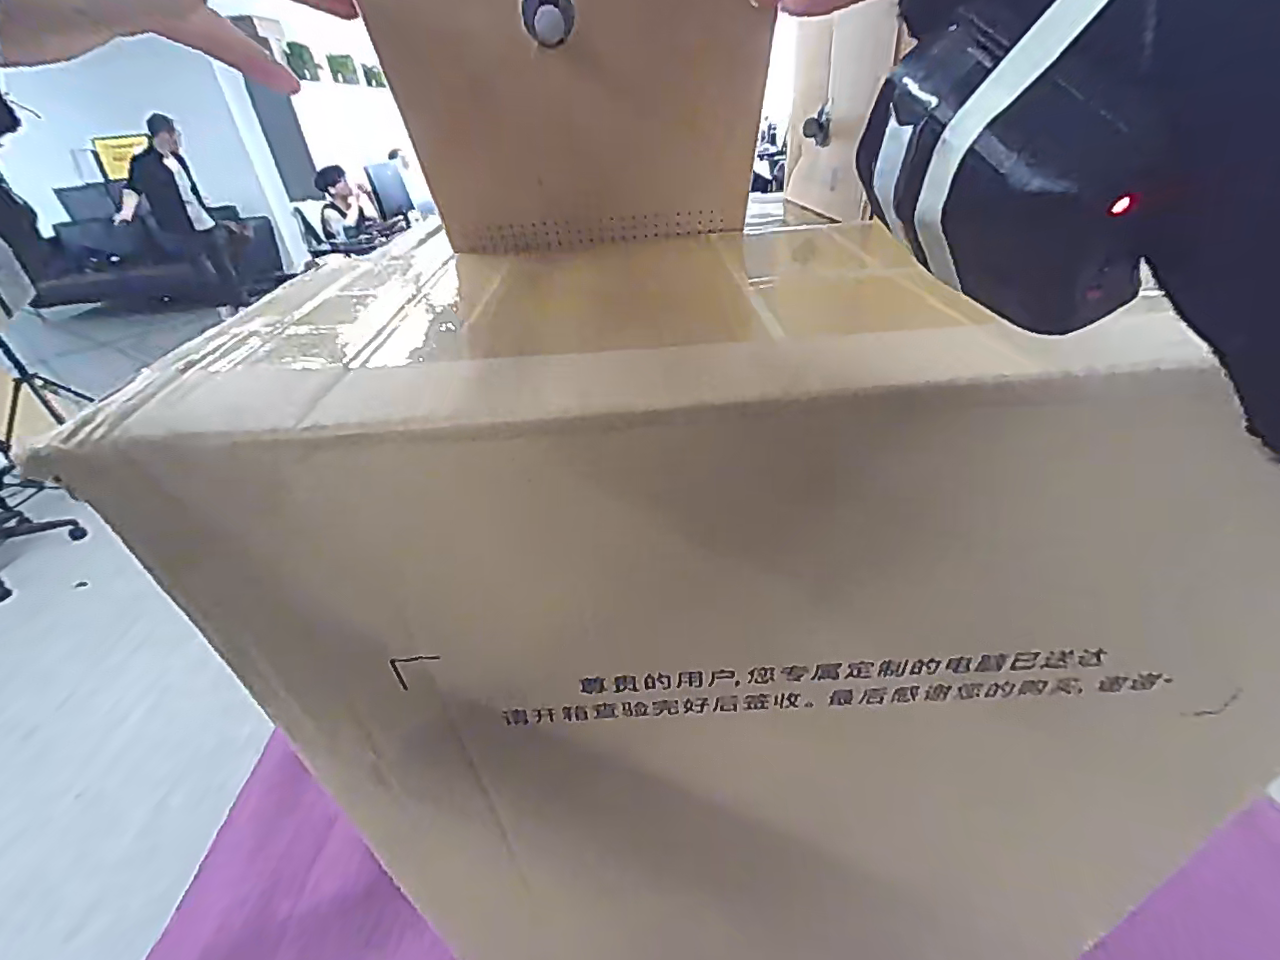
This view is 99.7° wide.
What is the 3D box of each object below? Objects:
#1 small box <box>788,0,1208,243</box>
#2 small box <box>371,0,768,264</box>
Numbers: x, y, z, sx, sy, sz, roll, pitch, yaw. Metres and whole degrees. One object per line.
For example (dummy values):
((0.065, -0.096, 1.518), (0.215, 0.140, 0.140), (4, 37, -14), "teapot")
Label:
((0.210, -0.268, 0.356), (0.179, 0.176, 0.168), (-8, 35, -2), "small box")
((-0.031, -0.241, 0.299), (0.179, 0.176, 0.168), (-4, 61, -1), "small box")
